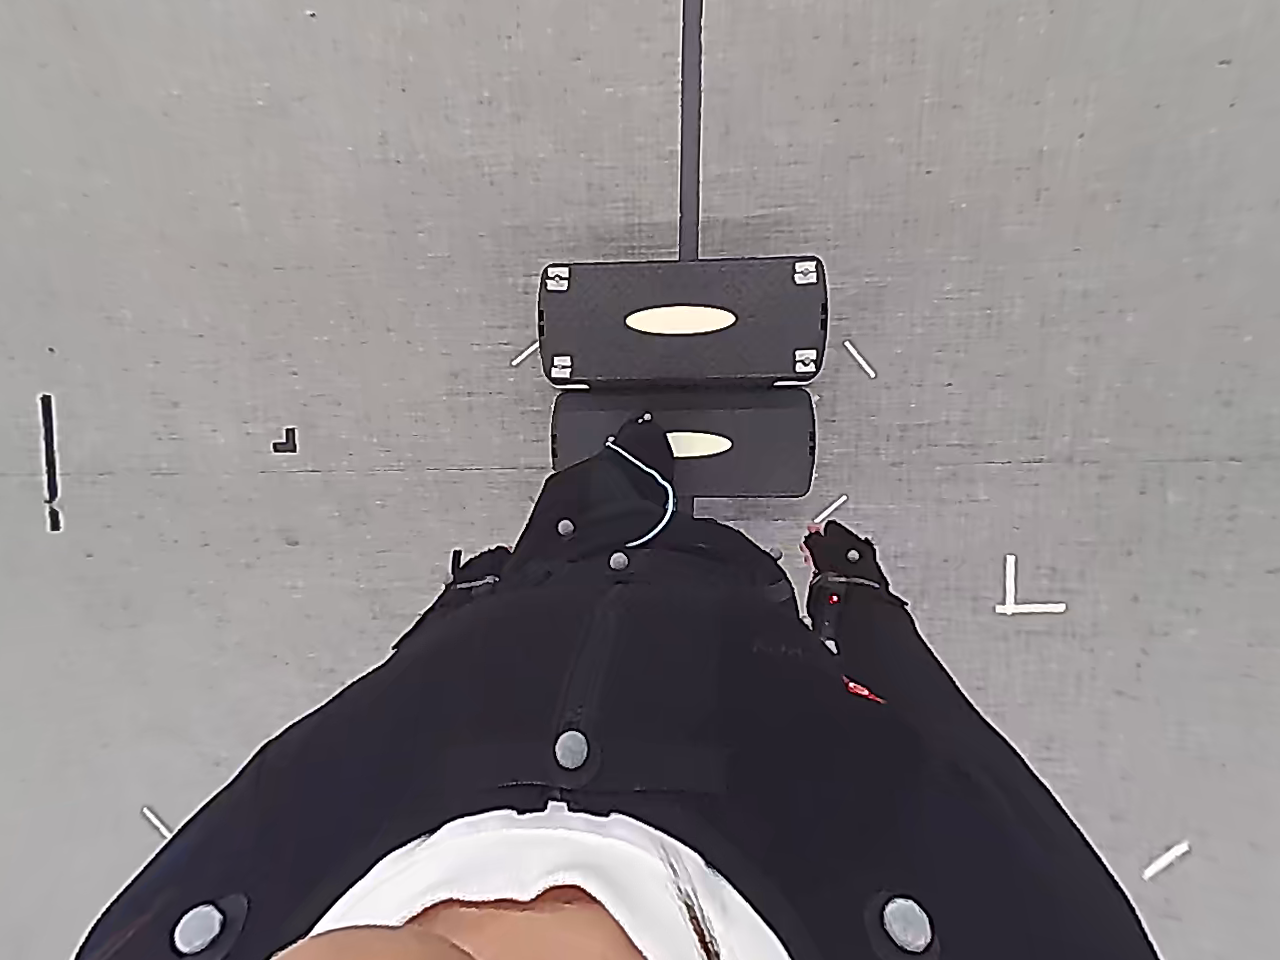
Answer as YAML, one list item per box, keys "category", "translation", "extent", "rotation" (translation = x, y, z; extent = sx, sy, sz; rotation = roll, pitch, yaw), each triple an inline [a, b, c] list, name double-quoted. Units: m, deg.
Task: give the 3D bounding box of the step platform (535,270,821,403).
- category: "step platform"
  translation: [0.088, -0.347, 1.338]
  extent: [0.684, 0.204, 0.286]
  rotation: [-1, 96, 3]
